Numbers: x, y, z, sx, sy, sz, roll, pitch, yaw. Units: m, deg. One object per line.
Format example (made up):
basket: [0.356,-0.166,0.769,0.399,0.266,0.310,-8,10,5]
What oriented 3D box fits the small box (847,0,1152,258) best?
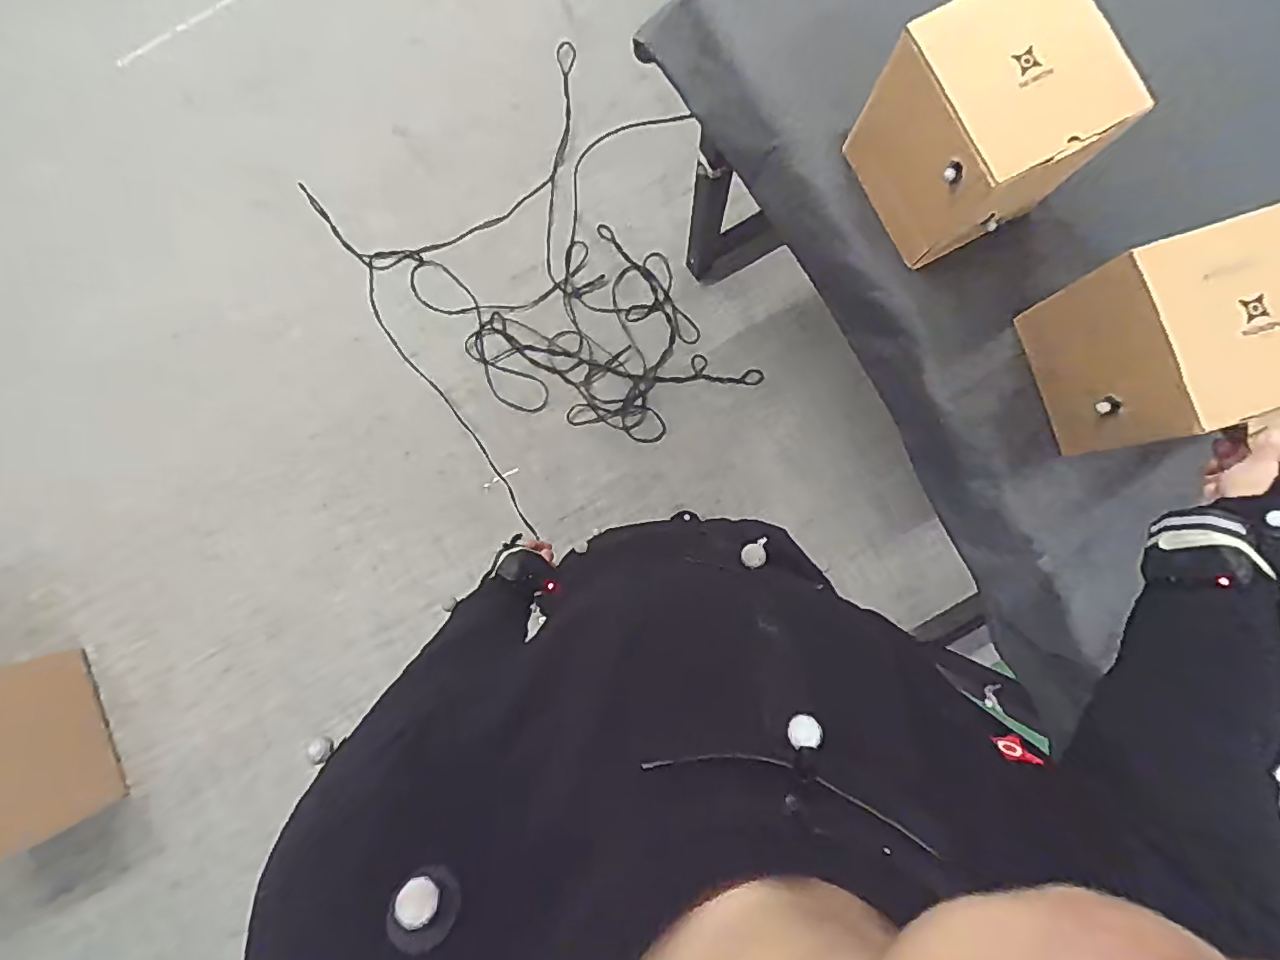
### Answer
small box: [0.350,-0.374,0.567,0.168,0.176,0.179,-28,87,-1]

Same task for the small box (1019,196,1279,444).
small box: [0.537,-0.143,0.545,0.168,0.176,0.179,-18,84,1]

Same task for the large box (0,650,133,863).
large box: [-1.499,0.666,1.241,0.320,0.320,0.408,-23,84,0]
